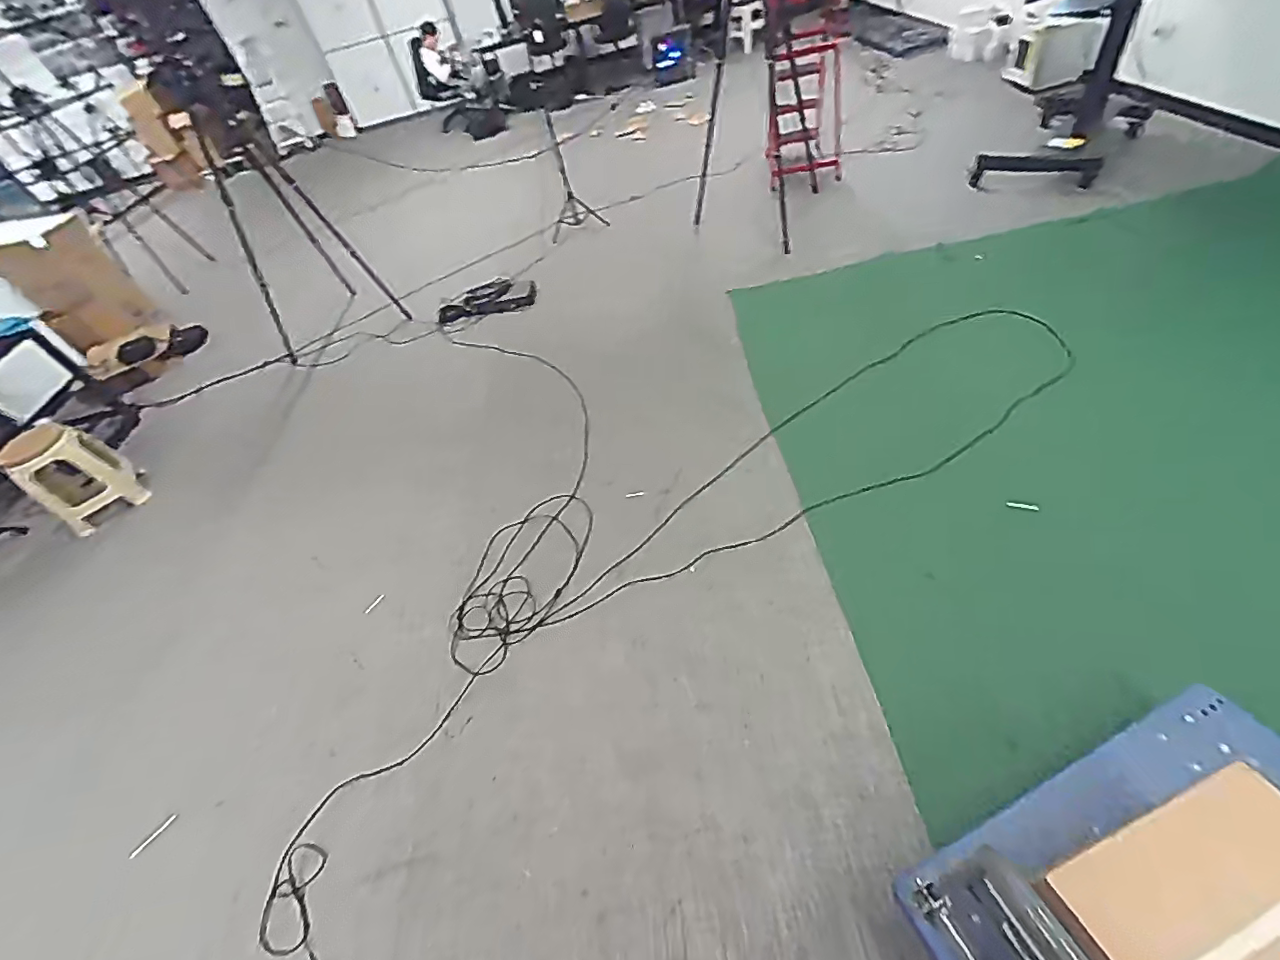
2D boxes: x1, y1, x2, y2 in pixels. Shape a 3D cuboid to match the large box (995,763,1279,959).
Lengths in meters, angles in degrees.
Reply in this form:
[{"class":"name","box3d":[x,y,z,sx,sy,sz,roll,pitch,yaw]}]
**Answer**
[{"class":"large box","box3d":[0.886,0.740,0.867,0.408,0.320,0.320,-23,46,-7]}]
